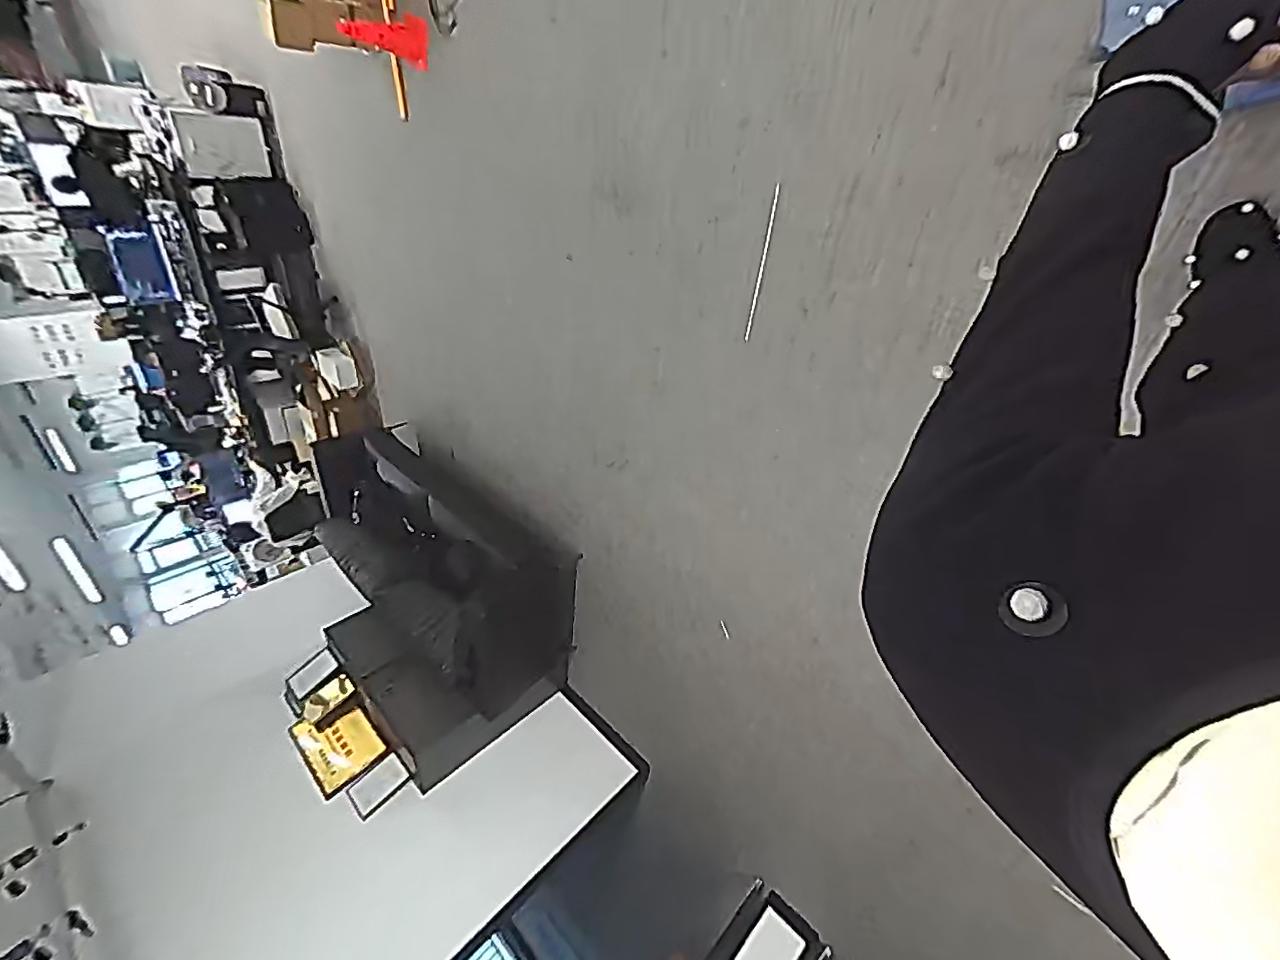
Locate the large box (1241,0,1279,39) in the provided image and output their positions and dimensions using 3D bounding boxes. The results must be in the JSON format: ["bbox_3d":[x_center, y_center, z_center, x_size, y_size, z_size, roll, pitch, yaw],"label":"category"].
[{"bbox_3d":[0.941,-0.833,0.615,0.320,0.320,0.408,9,115,44],"label":"large box"}]
